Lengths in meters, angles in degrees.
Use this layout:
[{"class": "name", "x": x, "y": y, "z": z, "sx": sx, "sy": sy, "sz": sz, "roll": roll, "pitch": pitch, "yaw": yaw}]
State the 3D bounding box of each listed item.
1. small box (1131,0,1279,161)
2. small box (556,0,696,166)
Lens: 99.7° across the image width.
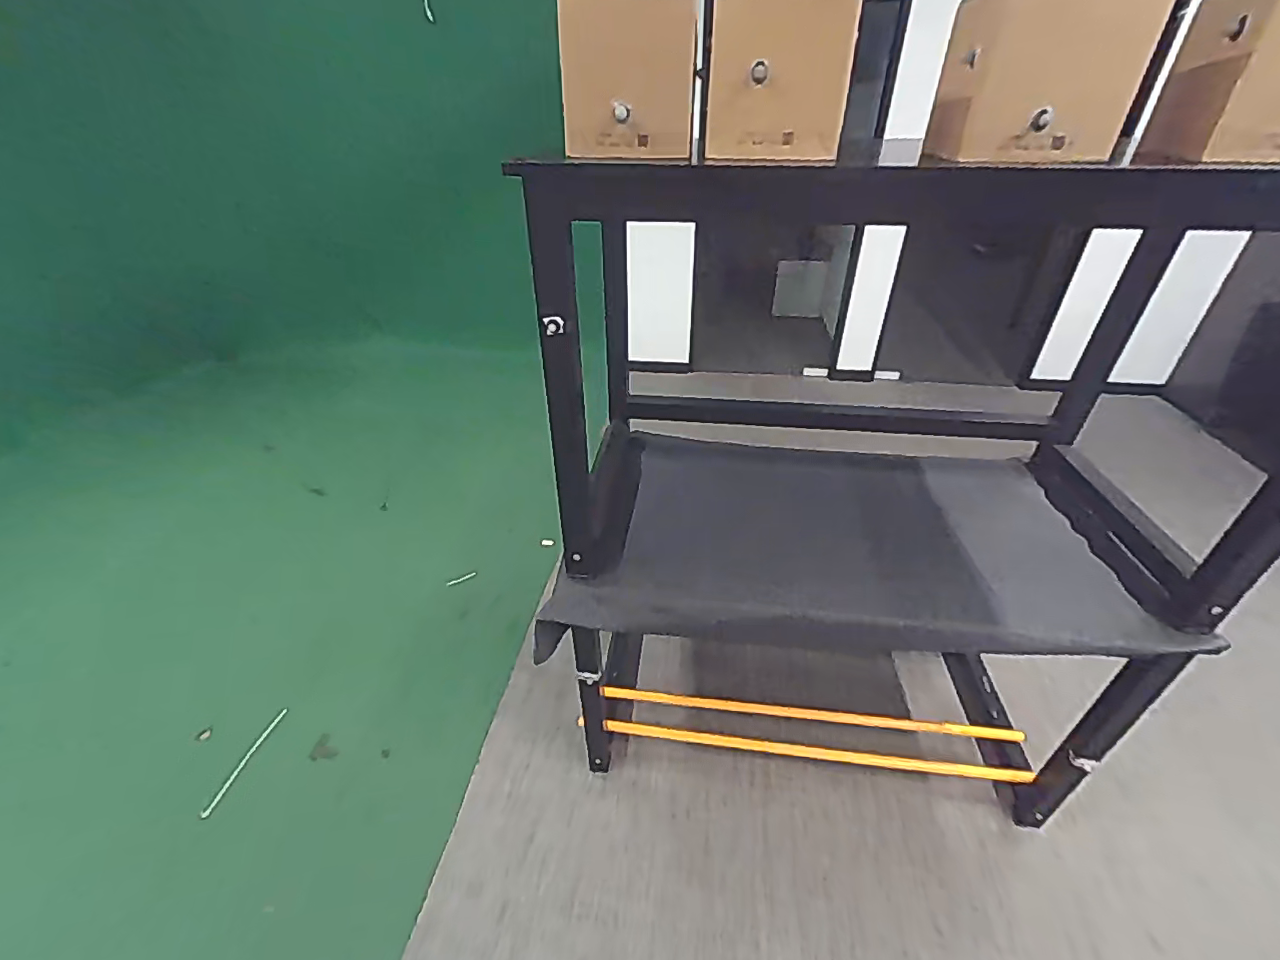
[{"class": "small box", "x": 0.740, "y": -0.474, "z": 0.633, "sx": 0.168, "sy": 0.176, "sz": 0.179, "roll": 9, "pitch": 35, "yaw": 14}, {"class": "small box", "x": -0.012, "y": -0.540, "z": 0.746, "sx": 0.168, "sy": 0.176, "sz": 0.179, "roll": 3, "pitch": 35, "yaw": 5}]
